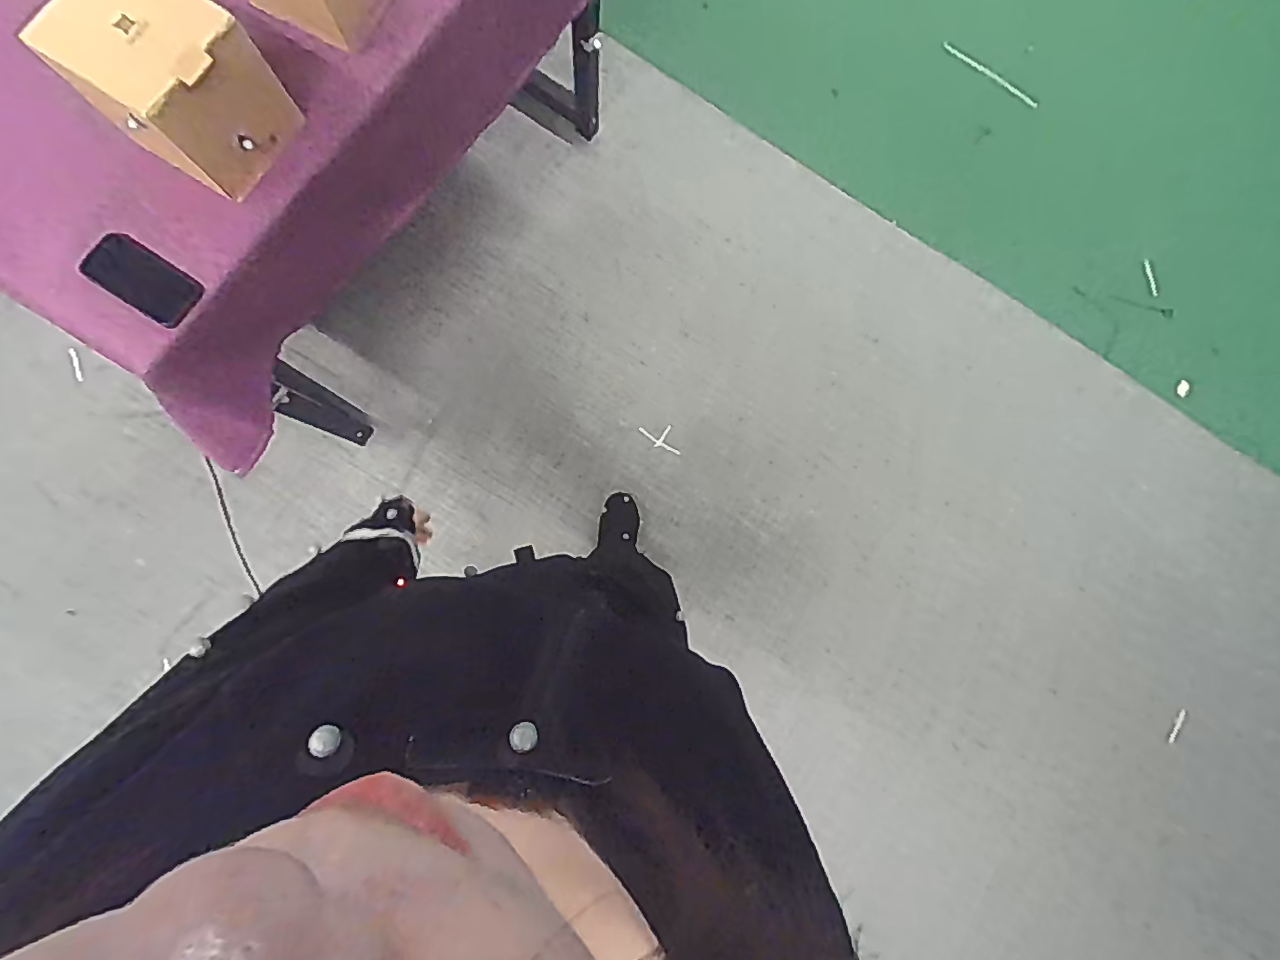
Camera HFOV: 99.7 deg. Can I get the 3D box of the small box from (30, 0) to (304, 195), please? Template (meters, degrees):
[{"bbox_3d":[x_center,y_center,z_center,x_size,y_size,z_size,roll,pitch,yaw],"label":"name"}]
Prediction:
[{"bbox_3d":[-0.609,-0.529,0.725,0.179,0.176,0.168,32,82,-2],"label":"small box"}]
